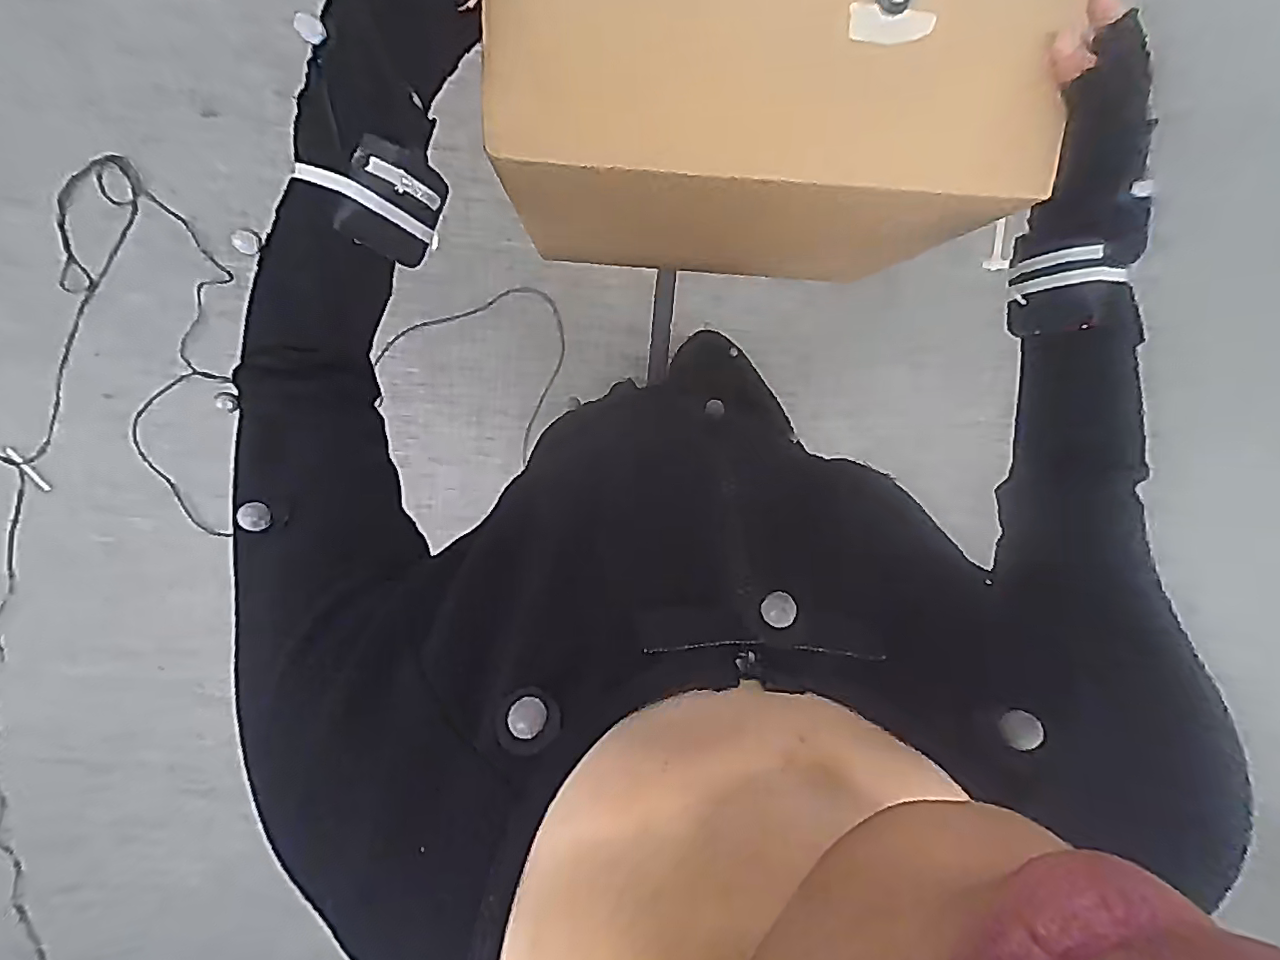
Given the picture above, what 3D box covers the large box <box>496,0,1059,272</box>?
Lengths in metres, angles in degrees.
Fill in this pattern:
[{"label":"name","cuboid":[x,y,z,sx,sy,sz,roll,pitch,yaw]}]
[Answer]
[{"label":"large box","cuboid":[0.090,-0.399,0.515,0.408,0.320,0.320,2,100,-4]}]
